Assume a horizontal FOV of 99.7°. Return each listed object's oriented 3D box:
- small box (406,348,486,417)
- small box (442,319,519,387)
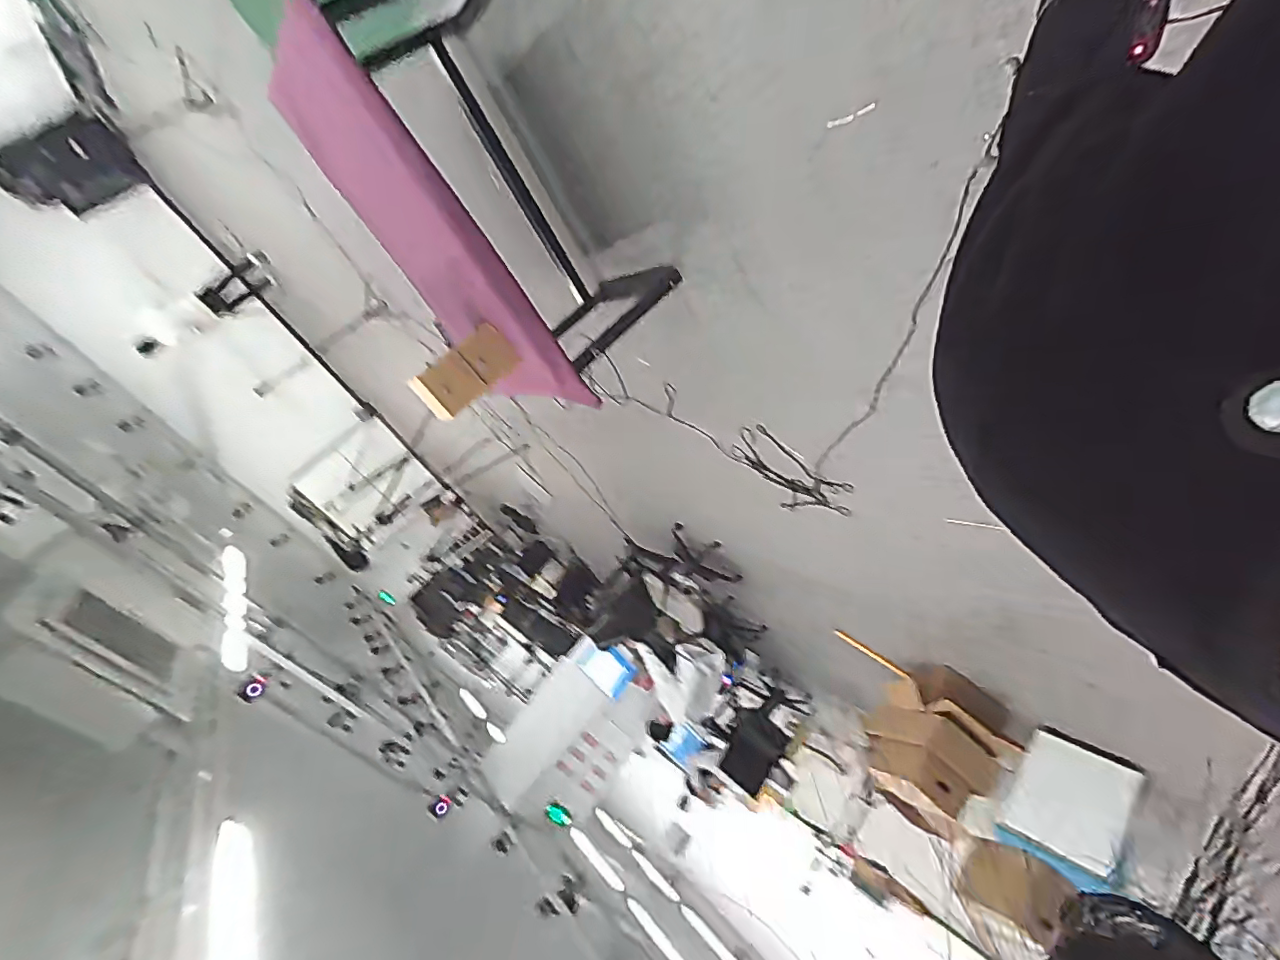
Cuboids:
[{"bbox_3d":[-0.668,-0.341,1.869,0.168,0.176,0.179,5,138,55],"label":"small box"},{"bbox_3d":[-0.567,-0.449,1.935,0.168,0.176,0.179,7,139,54],"label":"small box"}]
